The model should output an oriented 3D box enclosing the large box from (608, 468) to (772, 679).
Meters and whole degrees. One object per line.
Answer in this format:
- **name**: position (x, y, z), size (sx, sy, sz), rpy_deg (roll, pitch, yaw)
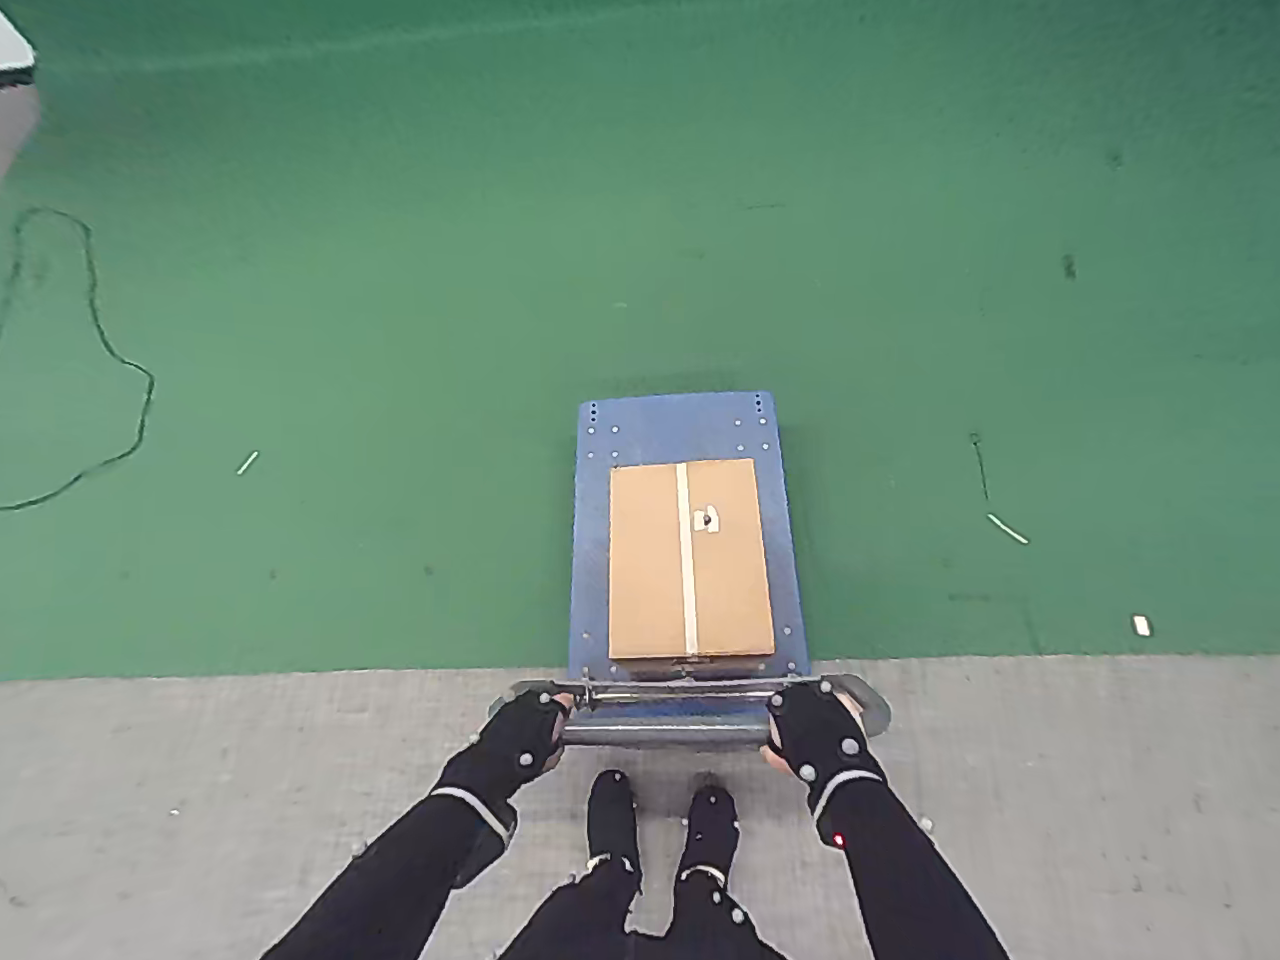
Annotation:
- **large box**: position (0.107, 0.227, 1.238), size (0.320, 0.320, 0.408), rpy_deg (-3, 65, 5)
